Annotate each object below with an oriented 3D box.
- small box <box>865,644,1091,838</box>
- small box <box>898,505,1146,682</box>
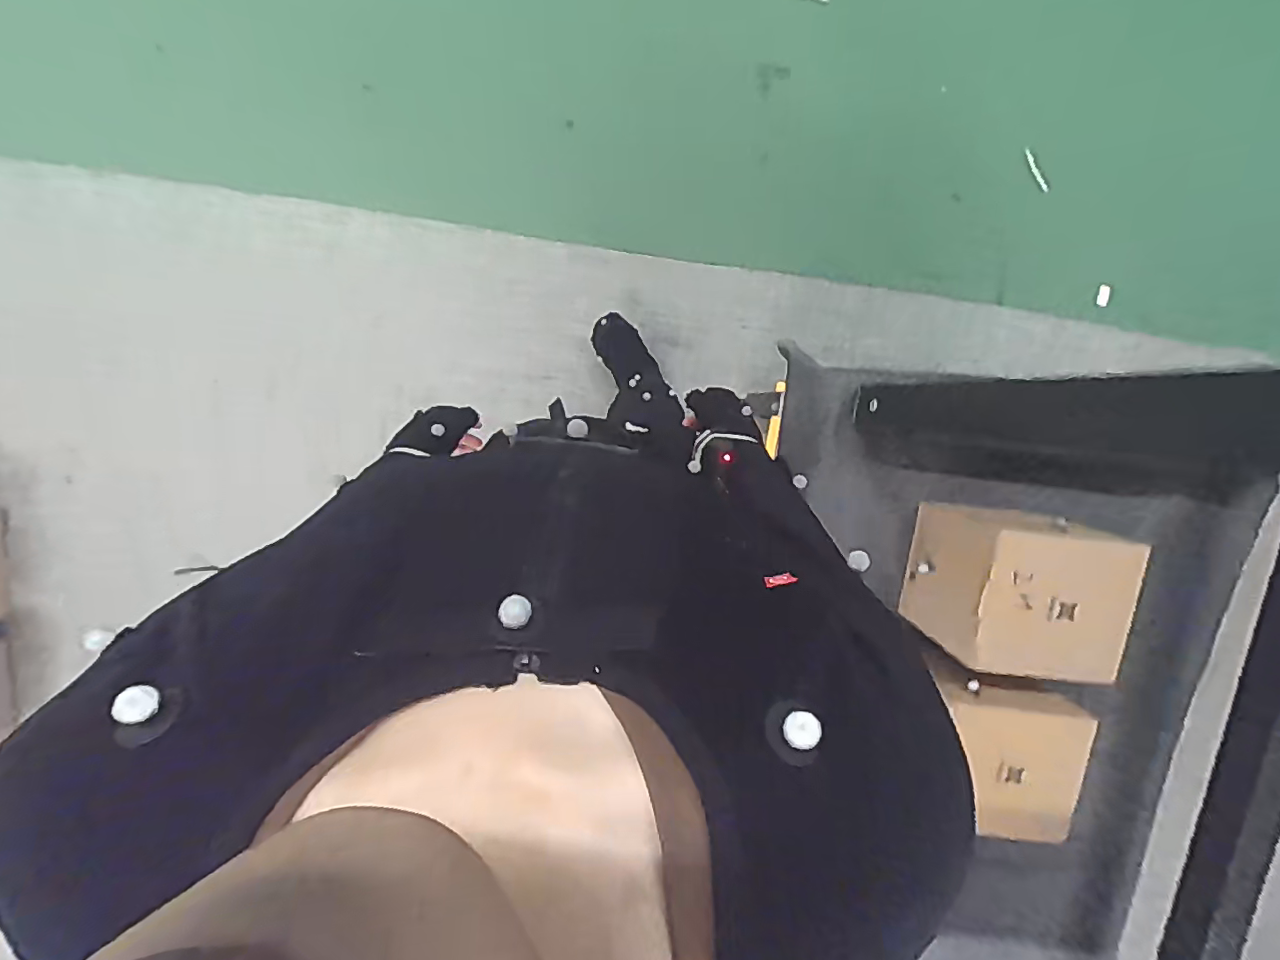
[{"bbox_3d":[0.433,0.335,0.723,0.179,0.176,0.168,7,98,-2],"label":"small box"},{"bbox_3d":[0.467,0.133,0.689,0.179,0.176,0.168,7,98,-2],"label":"small box"}]
